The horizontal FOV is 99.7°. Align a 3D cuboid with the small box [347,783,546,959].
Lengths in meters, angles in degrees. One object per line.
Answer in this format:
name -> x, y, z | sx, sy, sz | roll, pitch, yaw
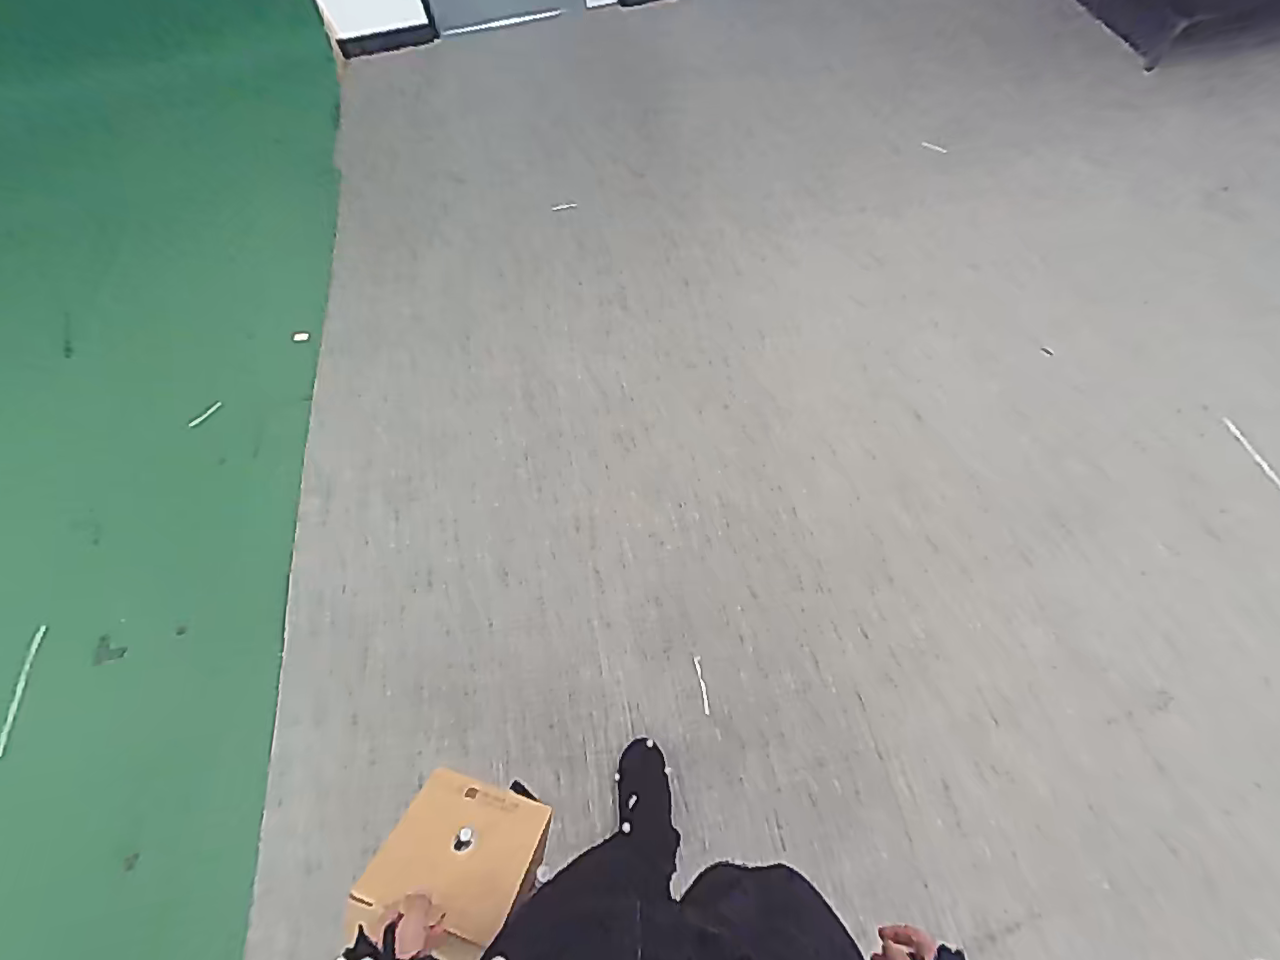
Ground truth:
small box -> -0.224, 0.511, 0.654 | 0.168, 0.179, 0.176 | 14, 21, 7
